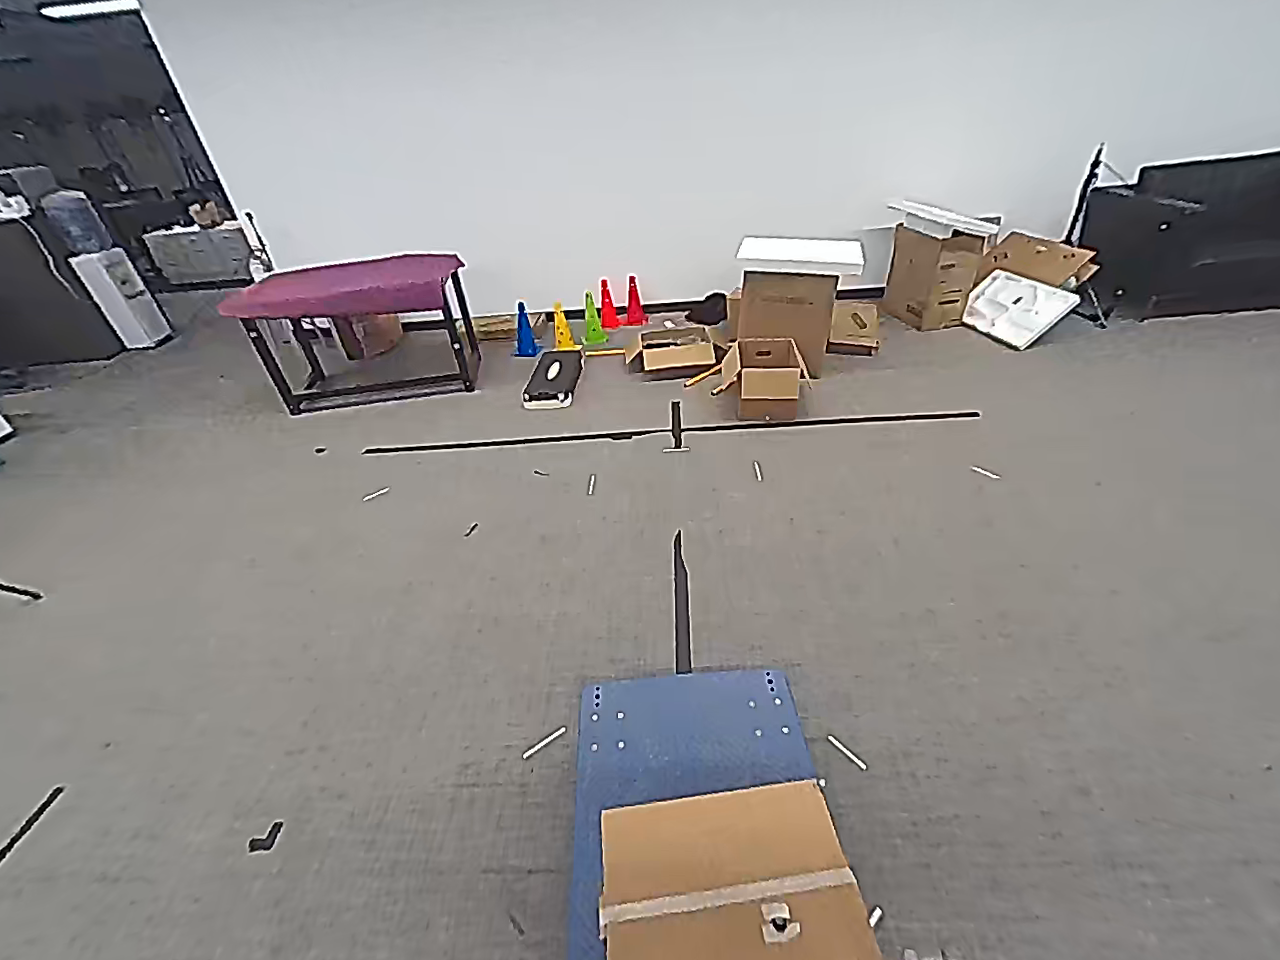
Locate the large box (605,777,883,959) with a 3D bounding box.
[{"bbox_3d":[0.160,0.792,0.966,0.408,0.320,0.320,-7,36,-3],"label":"large box"}]
